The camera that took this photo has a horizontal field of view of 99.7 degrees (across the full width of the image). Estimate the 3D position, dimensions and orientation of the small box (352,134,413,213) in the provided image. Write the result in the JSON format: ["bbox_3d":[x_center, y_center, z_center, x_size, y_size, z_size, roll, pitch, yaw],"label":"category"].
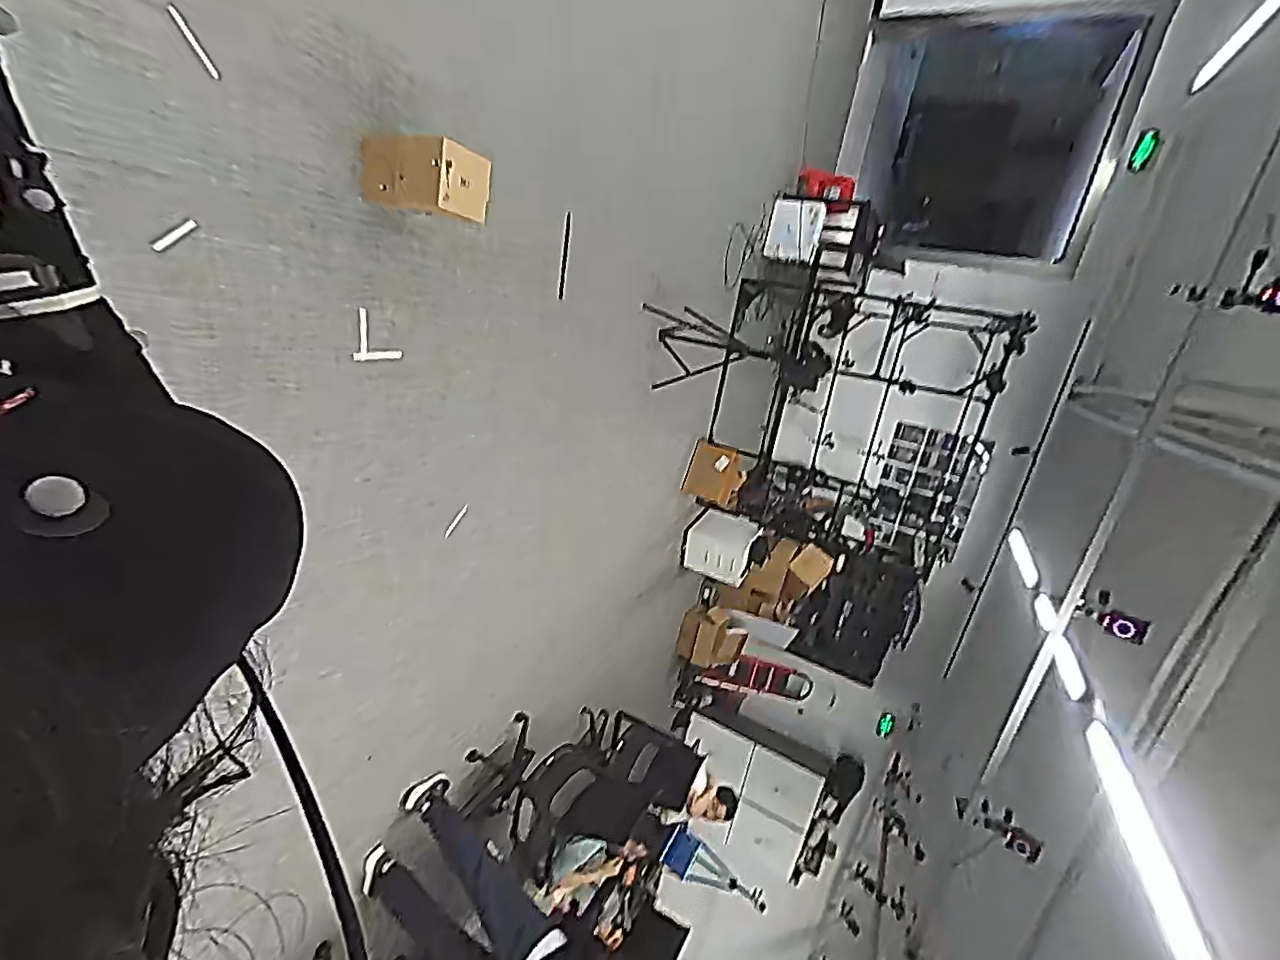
[{"bbox_3d":[-0.703,-0.876,1.559,0.168,0.176,0.179,-28,131,-59],"label":"small box"}]

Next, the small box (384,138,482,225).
[{"bbox_3d":[-0.567,-0.820,1.486,0.179,0.176,0.168,-18,123,-64],"label":"small box"}]
